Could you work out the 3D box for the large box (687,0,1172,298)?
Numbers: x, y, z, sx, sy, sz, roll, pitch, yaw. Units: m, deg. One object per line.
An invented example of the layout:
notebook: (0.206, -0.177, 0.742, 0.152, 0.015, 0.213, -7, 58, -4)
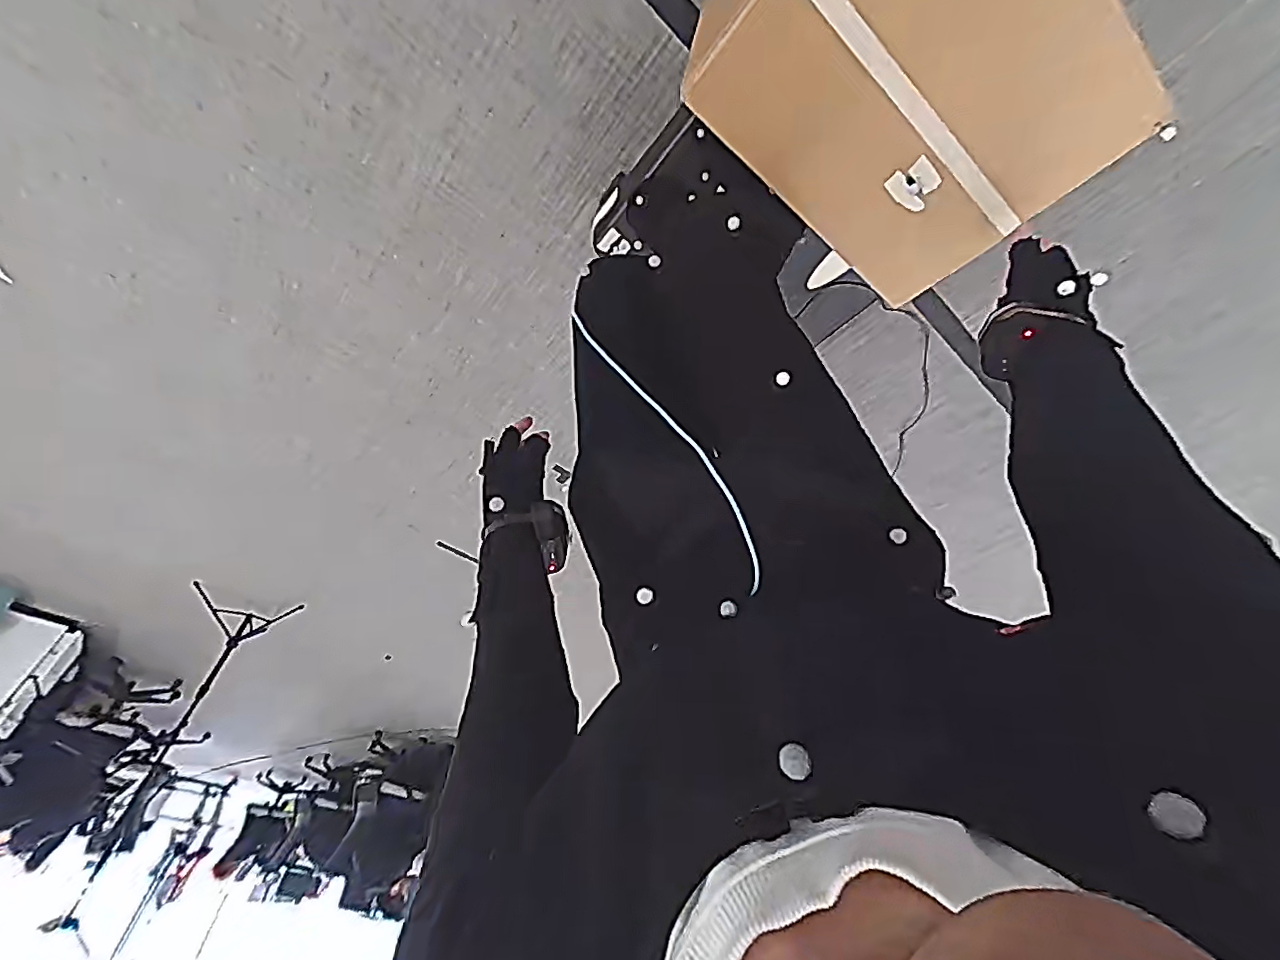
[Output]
large box: (0.312, -0.520, 0.659, 0.408, 0.320, 0.320, 29, 141, -25)
